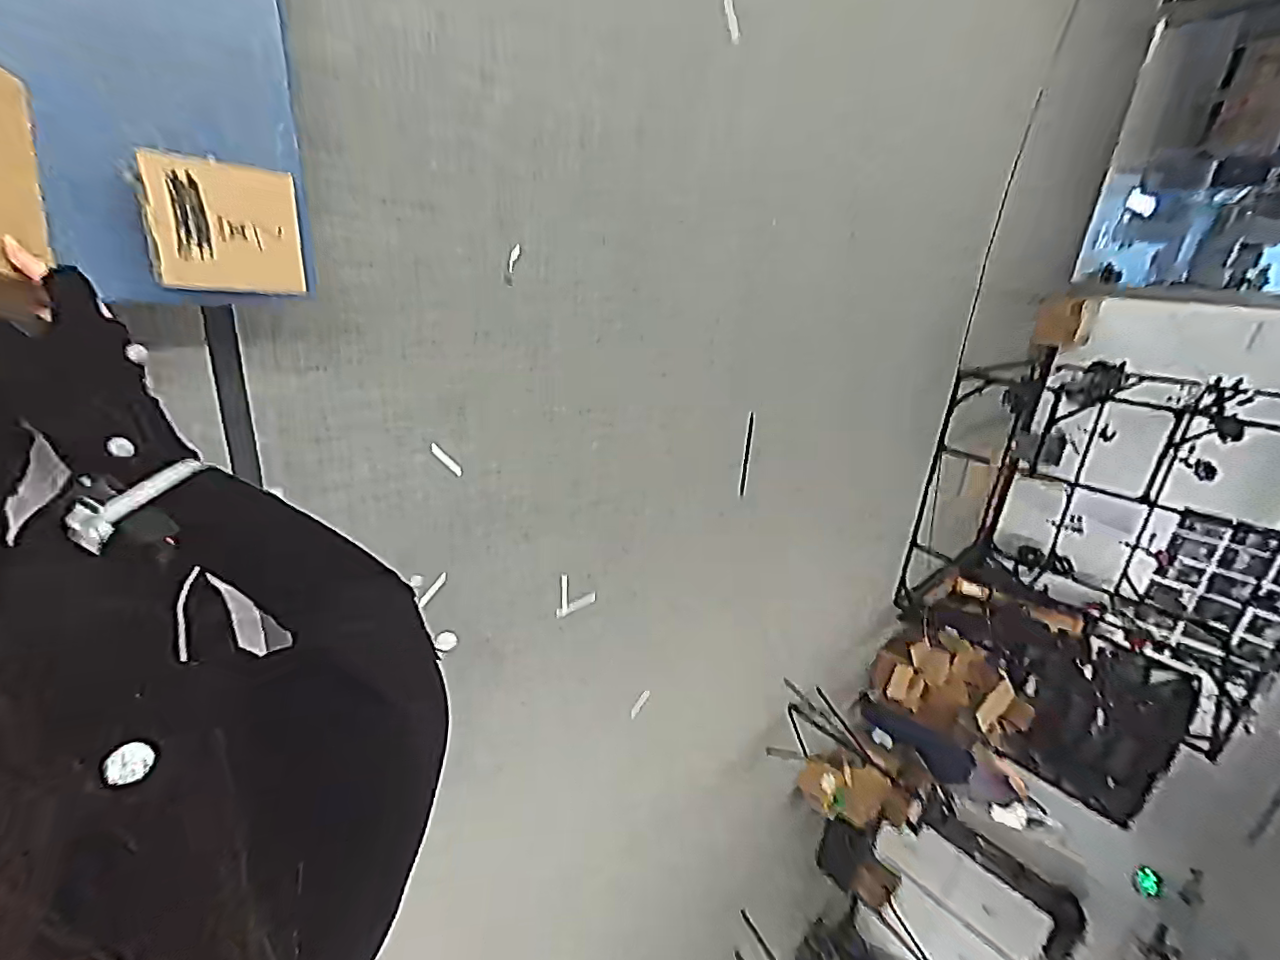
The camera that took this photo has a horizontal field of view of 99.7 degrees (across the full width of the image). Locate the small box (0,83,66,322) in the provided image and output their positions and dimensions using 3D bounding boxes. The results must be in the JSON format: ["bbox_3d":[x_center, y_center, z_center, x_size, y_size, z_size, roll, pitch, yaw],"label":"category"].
[{"bbox_3d":[-0.513,-0.192,0.314,0.179,0.168,0.176,36,41,-86],"label":"small box"}]
